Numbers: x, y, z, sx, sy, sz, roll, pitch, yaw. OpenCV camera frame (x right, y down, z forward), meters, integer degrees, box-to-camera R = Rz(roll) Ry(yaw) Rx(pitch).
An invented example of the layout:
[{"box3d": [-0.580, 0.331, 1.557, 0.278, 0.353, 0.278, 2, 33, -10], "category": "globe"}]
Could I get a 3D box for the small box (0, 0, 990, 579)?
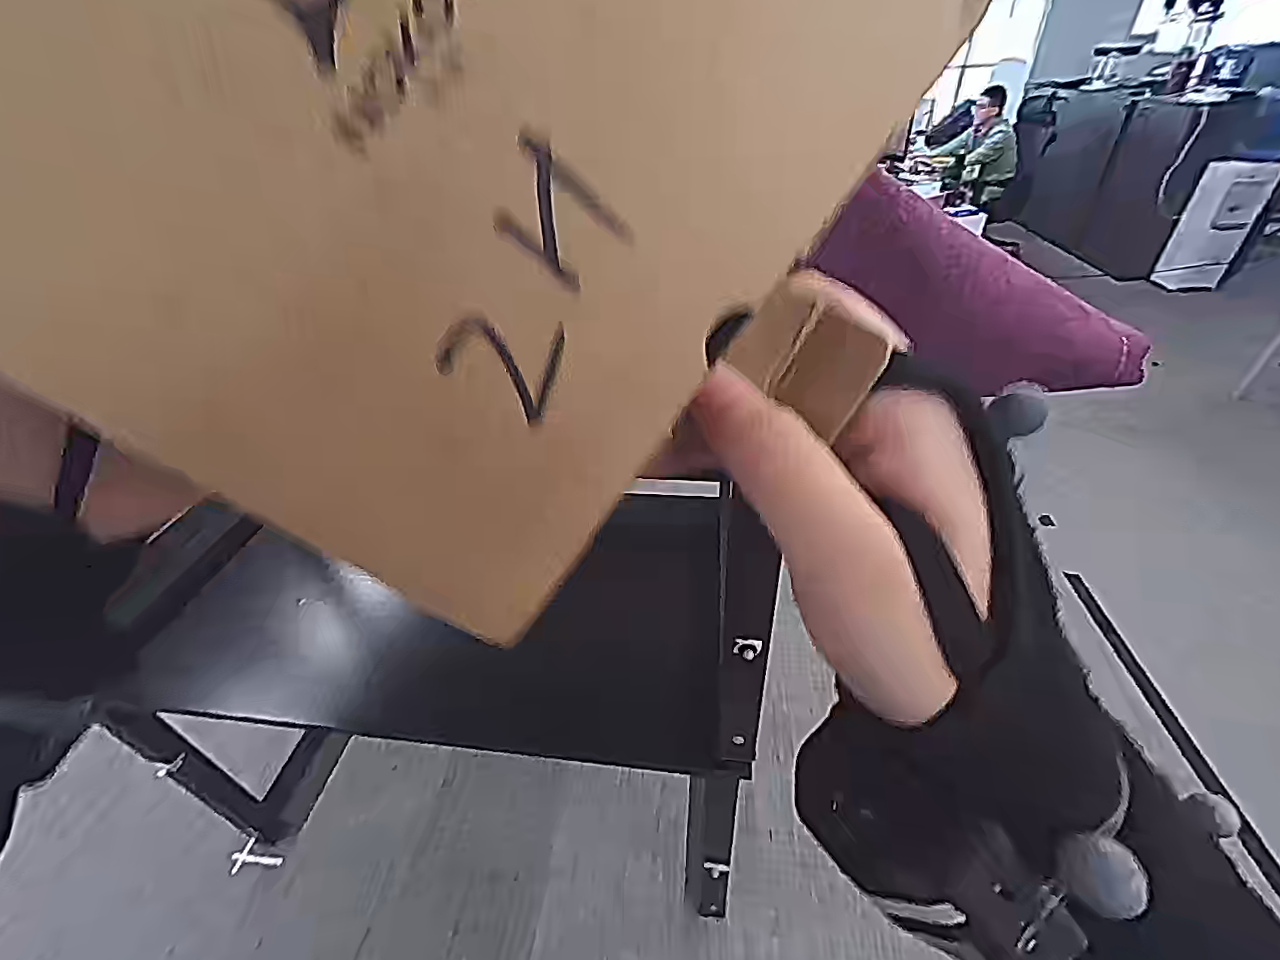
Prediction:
[{"box3d": [-0.055, -0.107, 0.164, 0.168, 0.179, 0.176, -51, 16, 5], "category": "small box"}]
